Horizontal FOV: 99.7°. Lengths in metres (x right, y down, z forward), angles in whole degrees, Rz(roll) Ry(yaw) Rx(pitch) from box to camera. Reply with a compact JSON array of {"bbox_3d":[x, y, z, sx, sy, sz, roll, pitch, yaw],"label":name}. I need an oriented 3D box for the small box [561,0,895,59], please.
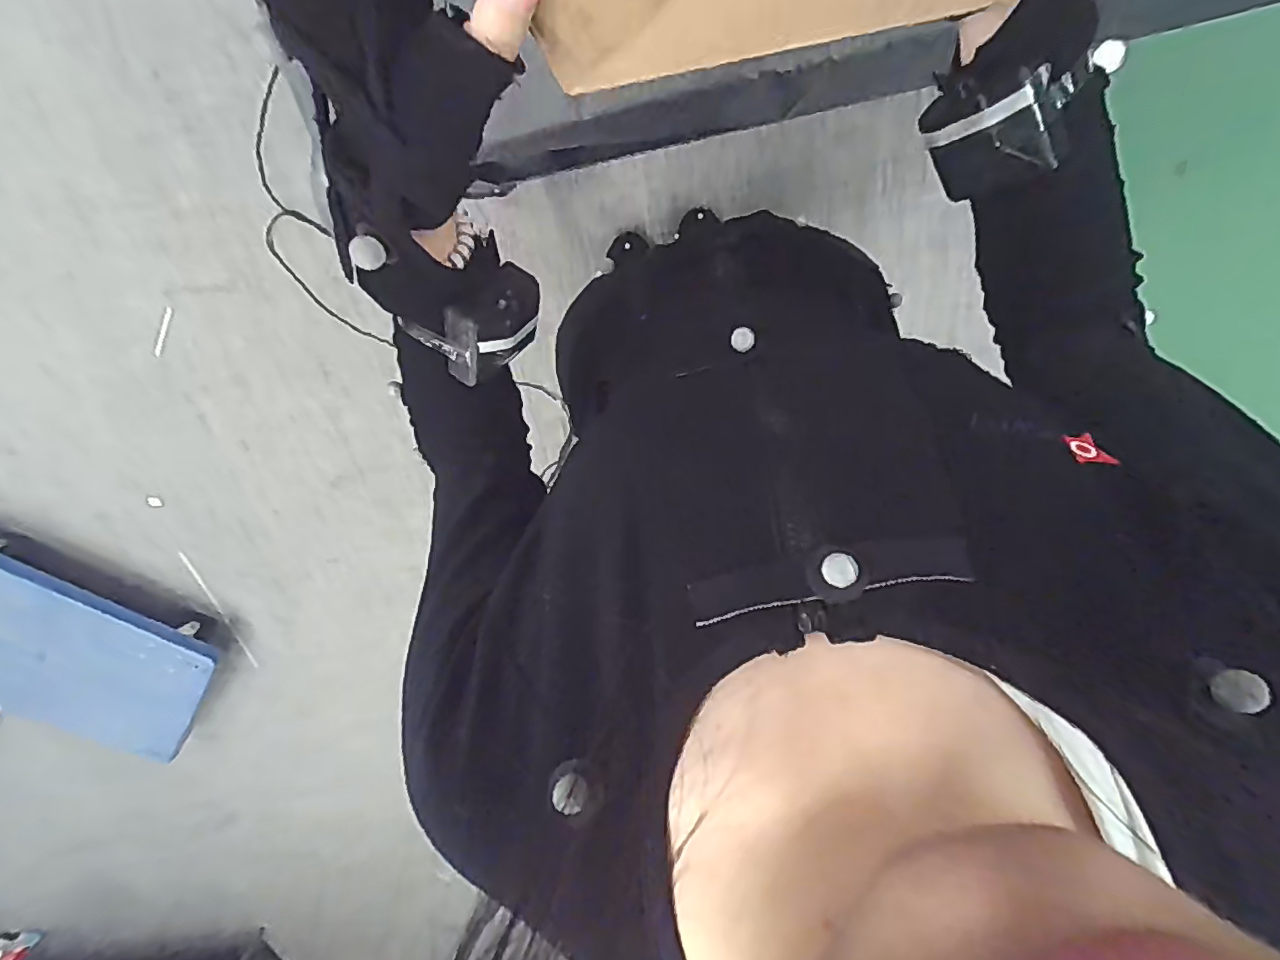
[{"bbox_3d":[0.033,-0.260,0.140,0.179,0.168,0.176,1,90,17],"label":"small box"}]
